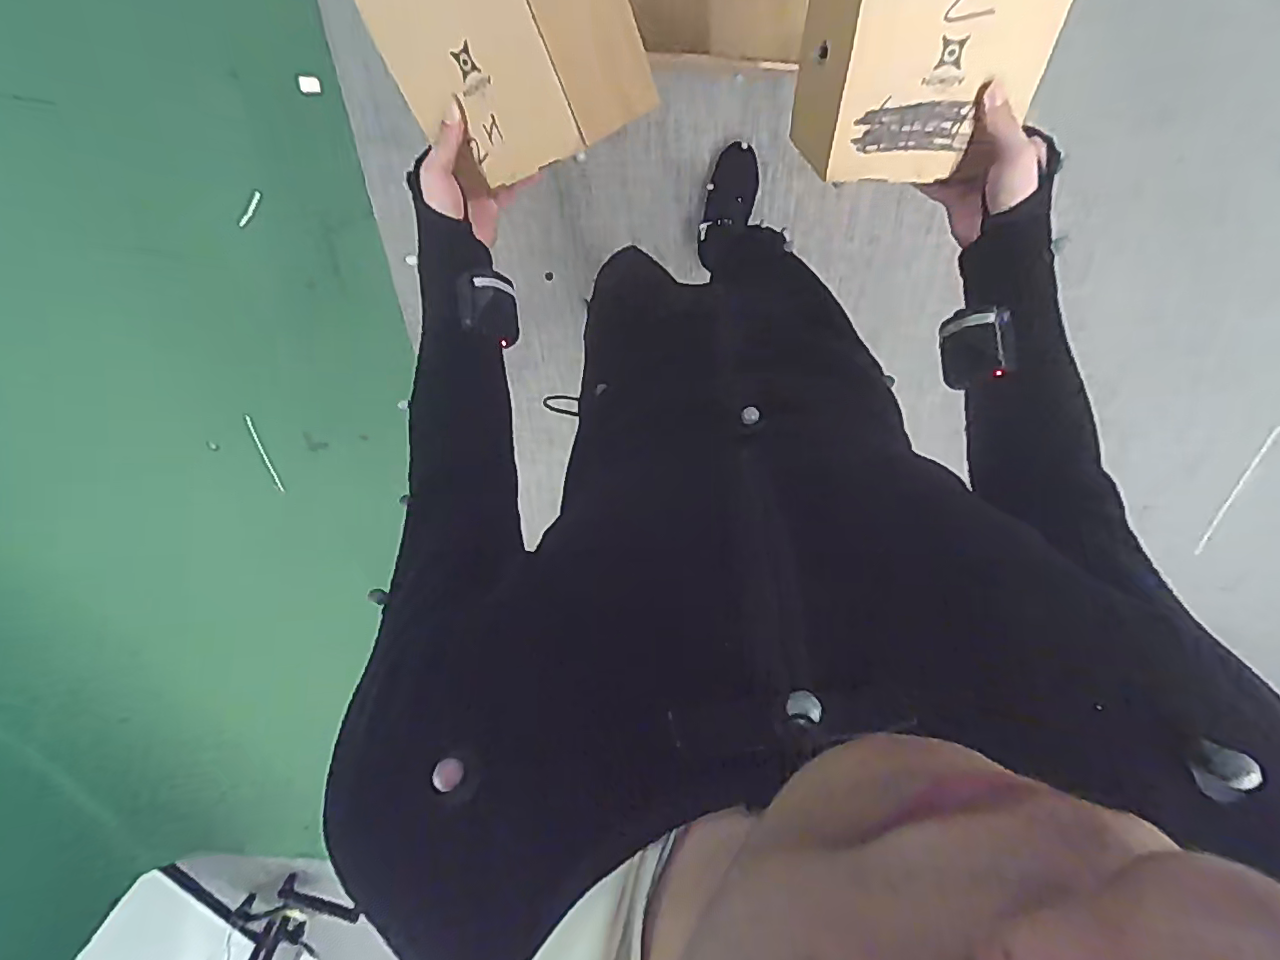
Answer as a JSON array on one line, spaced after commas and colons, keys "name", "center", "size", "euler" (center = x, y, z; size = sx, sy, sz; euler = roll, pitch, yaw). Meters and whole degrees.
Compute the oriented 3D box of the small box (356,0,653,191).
[{"name": "small box", "center": [-0.112, -0.404, 0.499], "size": [0.168, 0.176, 0.179], "euler": [0, 132, 33]}]
